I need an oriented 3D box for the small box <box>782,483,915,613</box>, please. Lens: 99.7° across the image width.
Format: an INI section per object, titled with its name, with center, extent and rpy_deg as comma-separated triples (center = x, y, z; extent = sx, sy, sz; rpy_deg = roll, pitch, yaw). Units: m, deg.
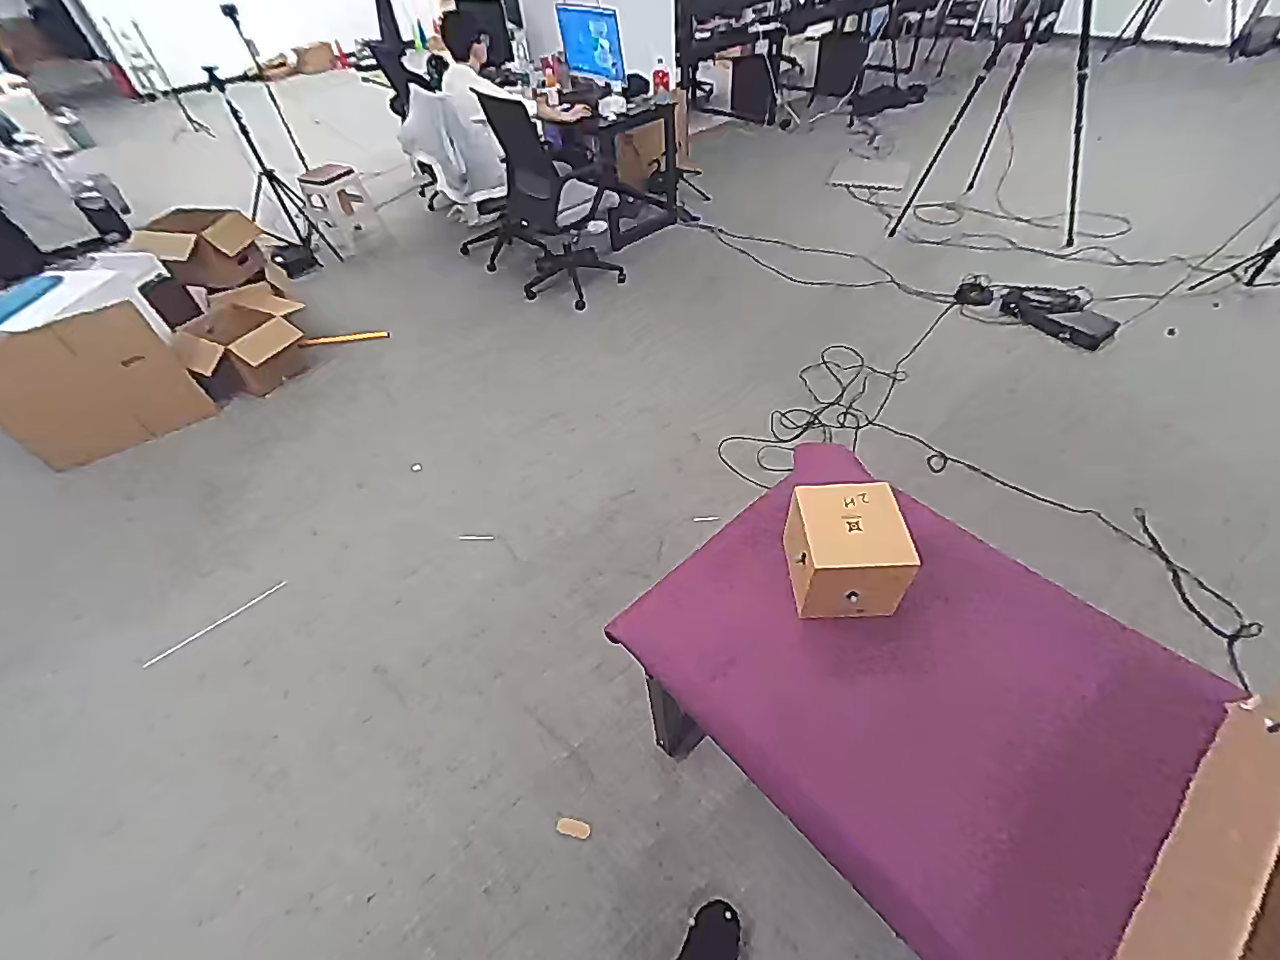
[small box]
center = 0.357, 0.126, 0.961
extent = 0.168, 0.176, 0.179
rpy_deg = -2, 48, 3
